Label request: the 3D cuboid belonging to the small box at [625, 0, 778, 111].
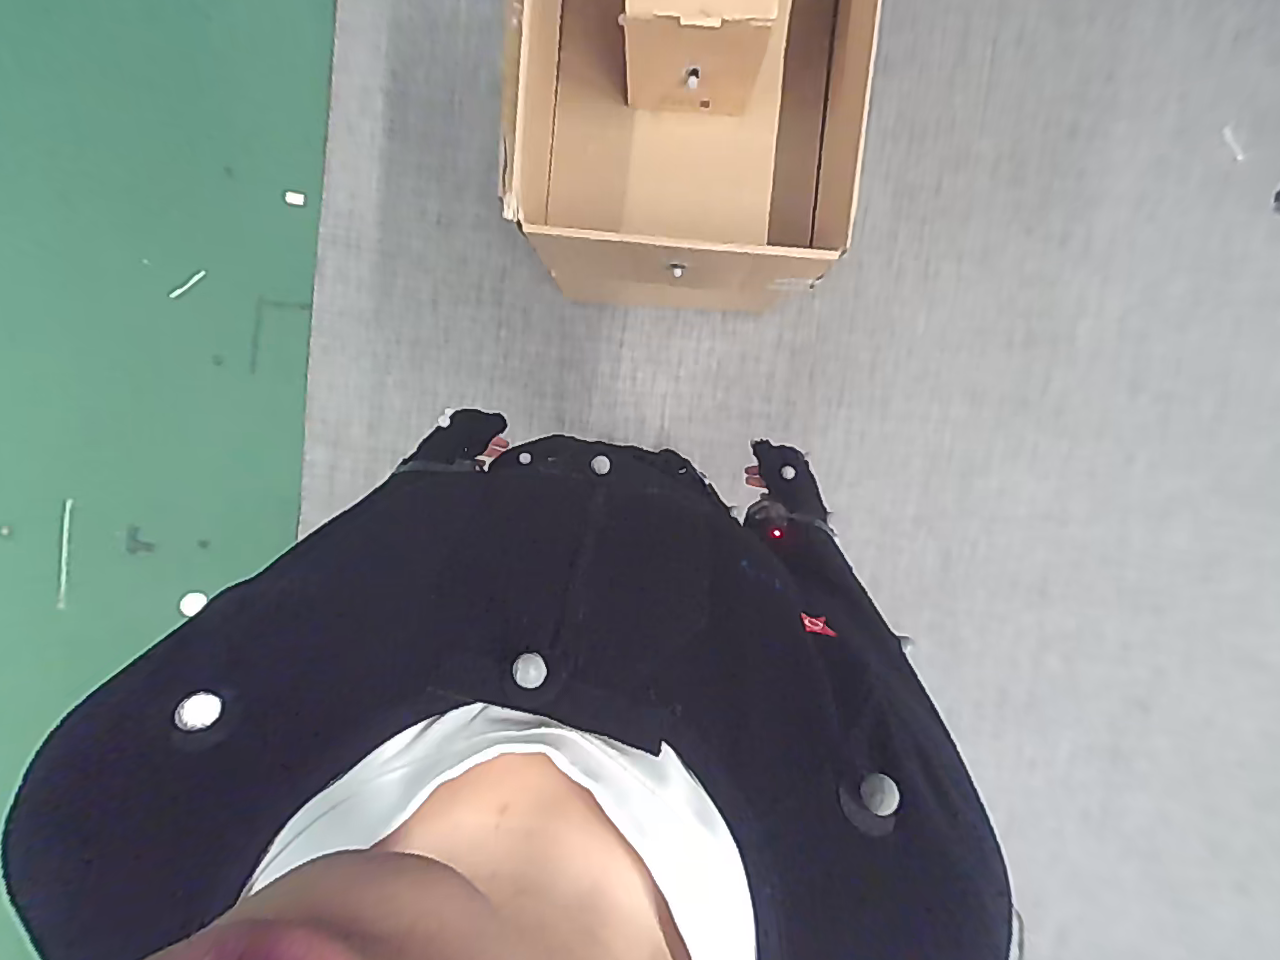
[{"bbox_3d":[0.074,-0.582,0.649,0.168,0.176,0.179,5,95,0],"label":"small box"}]
